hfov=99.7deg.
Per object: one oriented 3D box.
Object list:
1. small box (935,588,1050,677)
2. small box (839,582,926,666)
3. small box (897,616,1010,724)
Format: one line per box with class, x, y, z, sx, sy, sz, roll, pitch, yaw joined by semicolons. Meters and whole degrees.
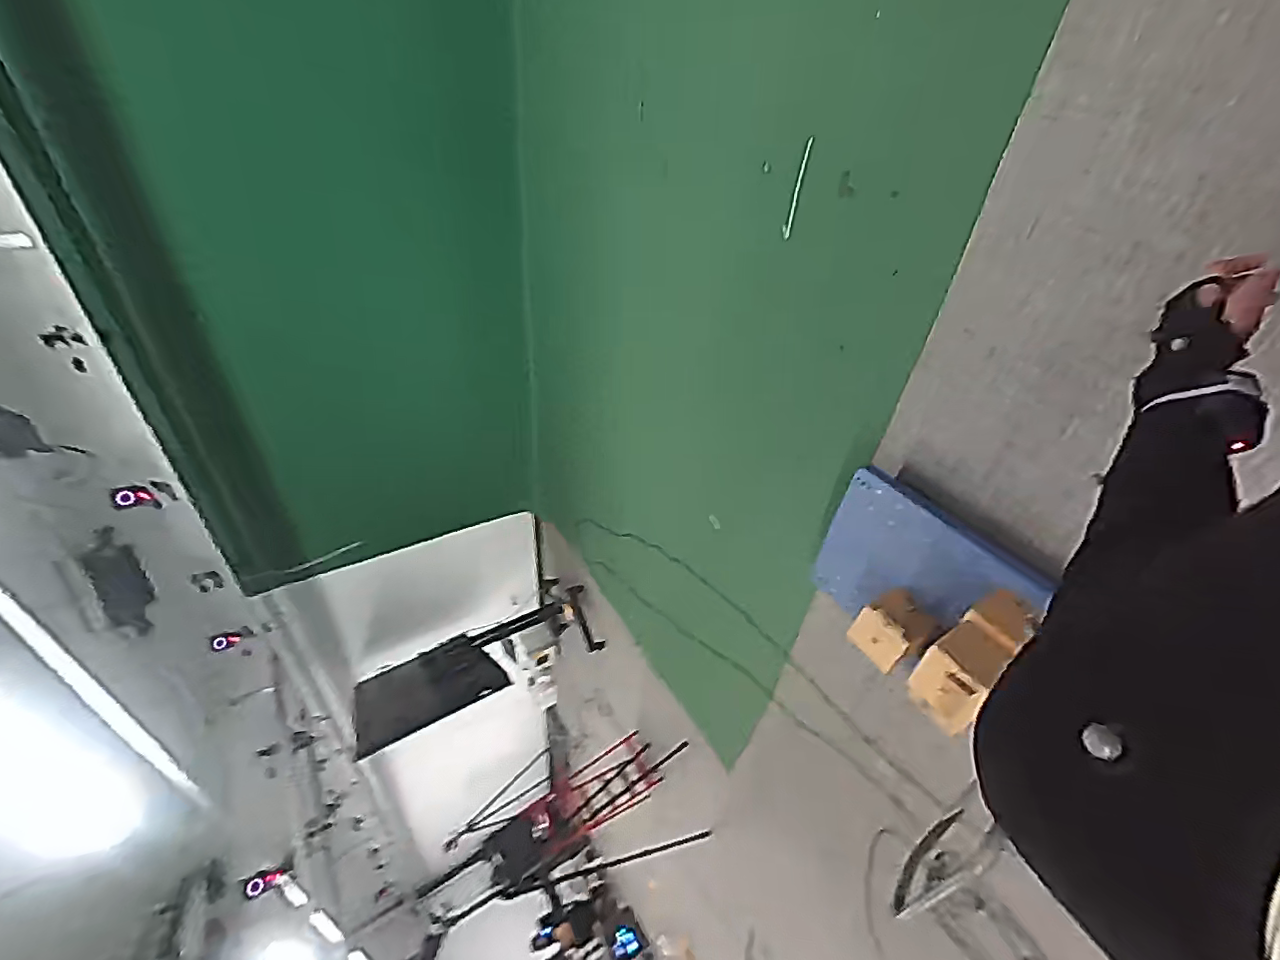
small box;0.960;0.419;1.472;0.179;0.176;0.168;64;148;13
small box;0.794;0.467;1.768;0.168;0.176;0.179;48;143;35
small box;0.815;0.485;1.402;0.168;0.176;0.179;47;143;39
